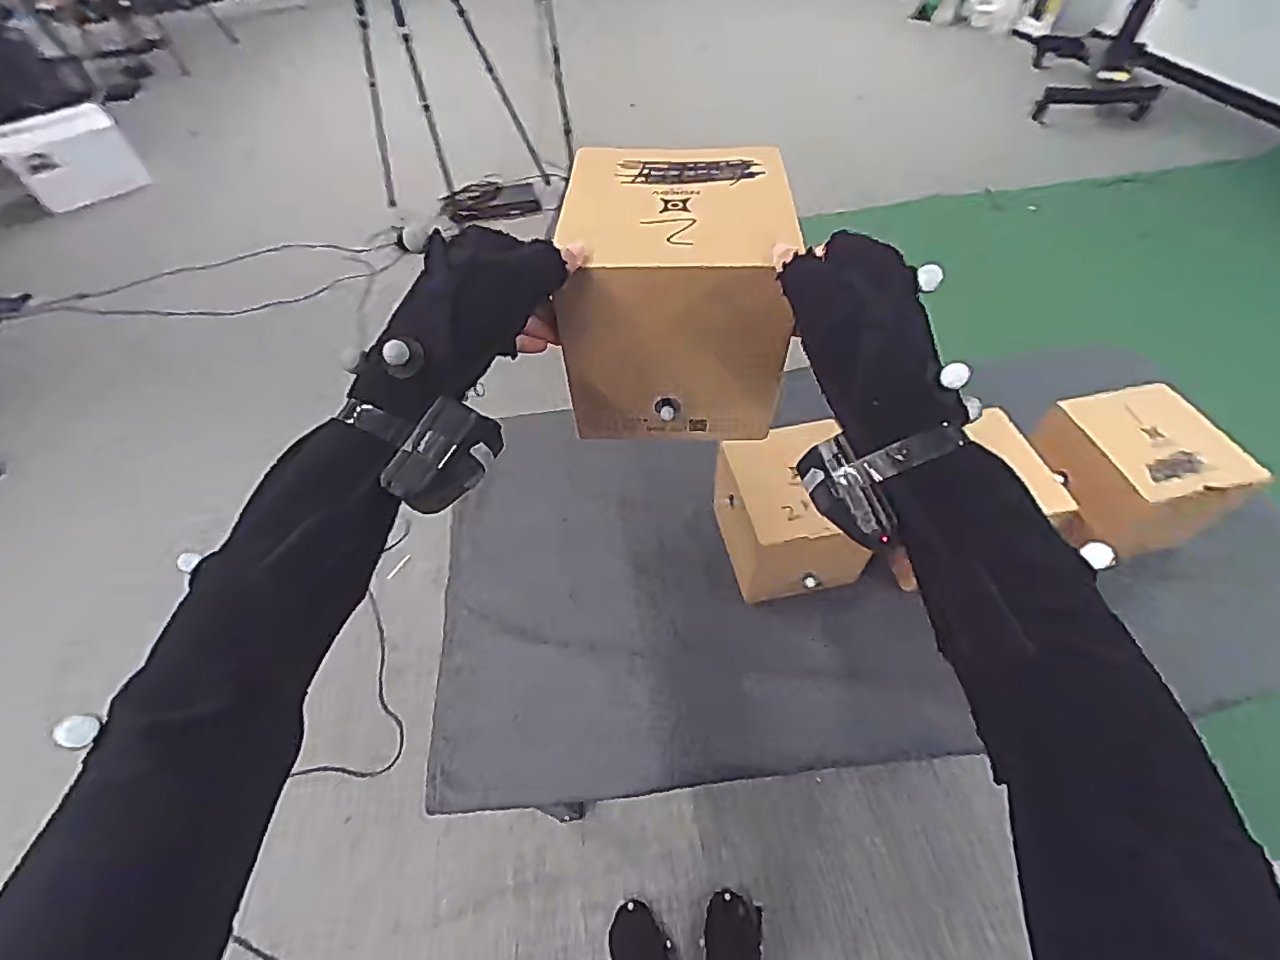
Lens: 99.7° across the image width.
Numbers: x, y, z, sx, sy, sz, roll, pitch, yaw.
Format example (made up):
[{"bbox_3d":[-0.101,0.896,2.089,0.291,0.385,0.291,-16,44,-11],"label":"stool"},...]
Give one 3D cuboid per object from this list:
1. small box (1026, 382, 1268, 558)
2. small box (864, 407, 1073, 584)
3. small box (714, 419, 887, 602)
[{"bbox_3d":[0.667,-0.006,0.758,0.168,0.176,0.179,-10,52,-4],"label":"small box"},{"bbox_3d":[0.429,0.030,0.751,0.168,0.176,0.179,-10,52,-4],"label":"small box"},{"bbox_3d":[0.205,0.044,0.752,0.168,0.176,0.179,-11,53,-4],"label":"small box"}]
